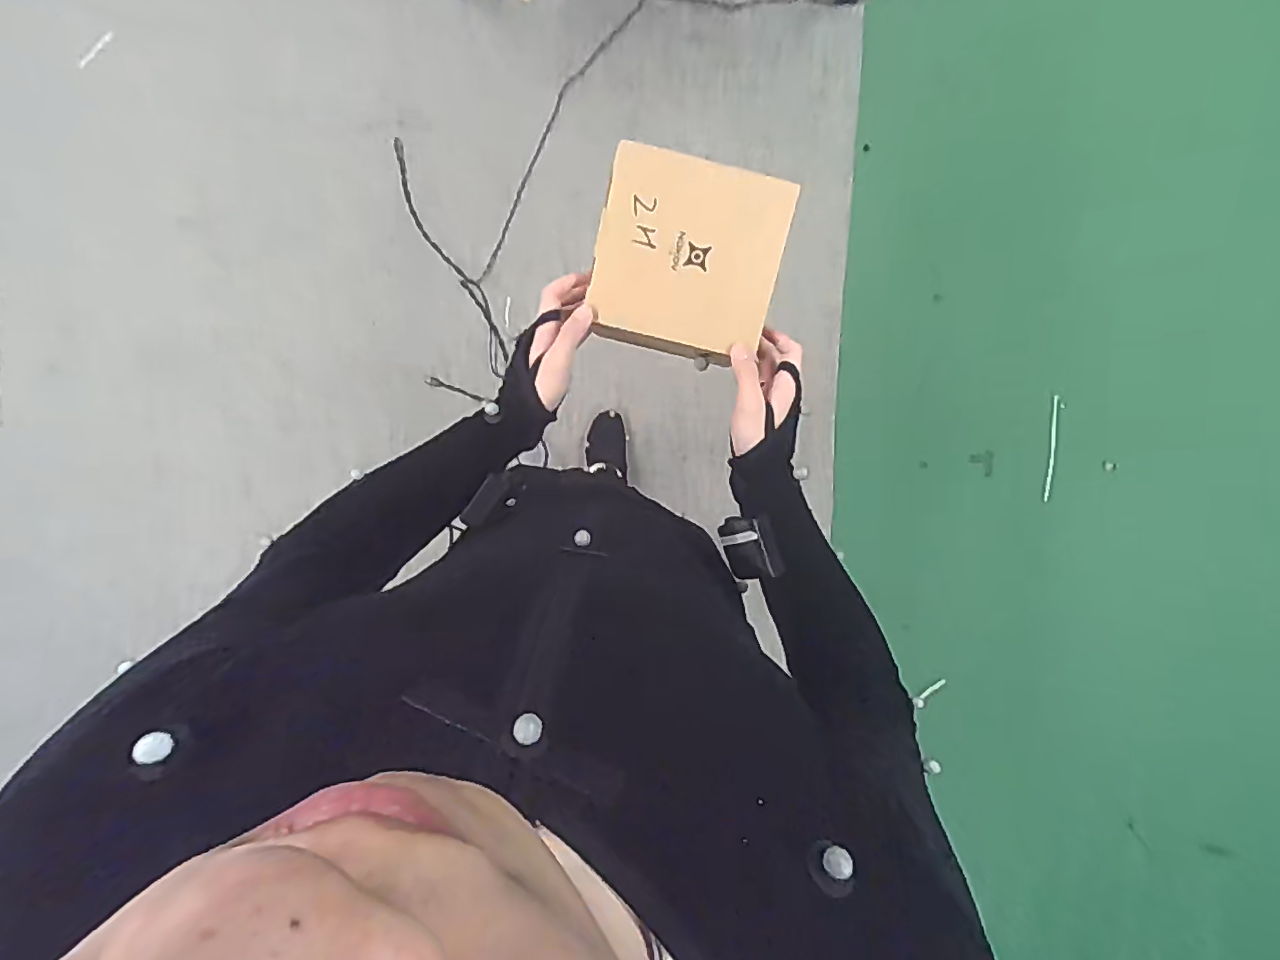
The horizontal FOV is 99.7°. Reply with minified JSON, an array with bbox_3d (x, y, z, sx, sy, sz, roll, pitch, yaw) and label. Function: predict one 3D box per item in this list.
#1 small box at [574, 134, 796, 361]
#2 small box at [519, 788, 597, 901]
[{"bbox_3d":[0.041,-0.229,0.583,0.179,0.176,0.168,14,98,-1],"label":"small box"},{"bbox_3d":[-0.200,0.907,1.361,0.168,0.176,0.179,2,92,2],"label":"small box"}]
